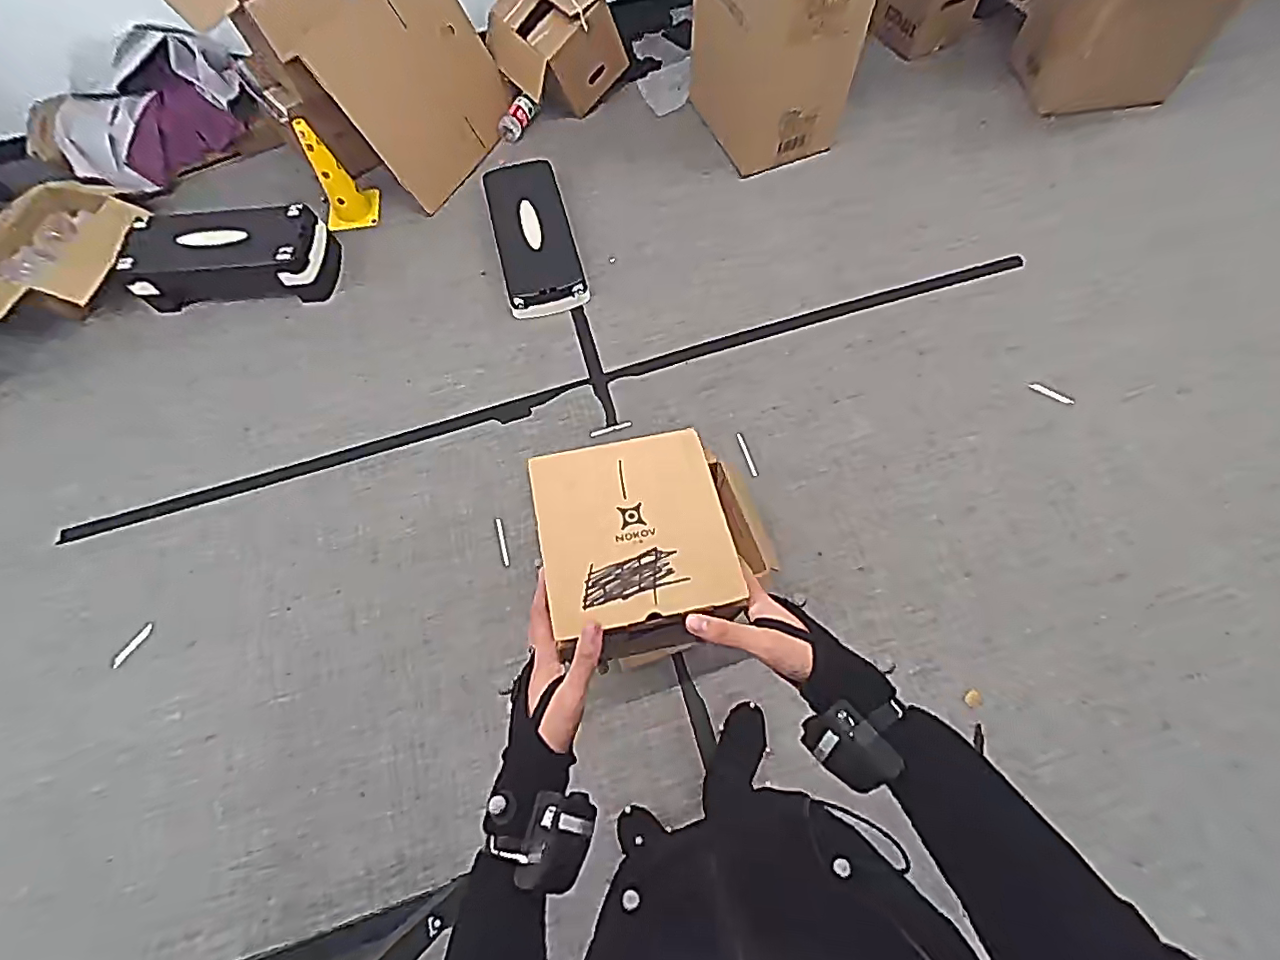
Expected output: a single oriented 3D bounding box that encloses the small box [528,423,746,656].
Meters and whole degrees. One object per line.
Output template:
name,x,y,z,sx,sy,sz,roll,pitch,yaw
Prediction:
small box,-0.008,0.071,0.543,0.168,0.176,0.179,-11,65,-6
